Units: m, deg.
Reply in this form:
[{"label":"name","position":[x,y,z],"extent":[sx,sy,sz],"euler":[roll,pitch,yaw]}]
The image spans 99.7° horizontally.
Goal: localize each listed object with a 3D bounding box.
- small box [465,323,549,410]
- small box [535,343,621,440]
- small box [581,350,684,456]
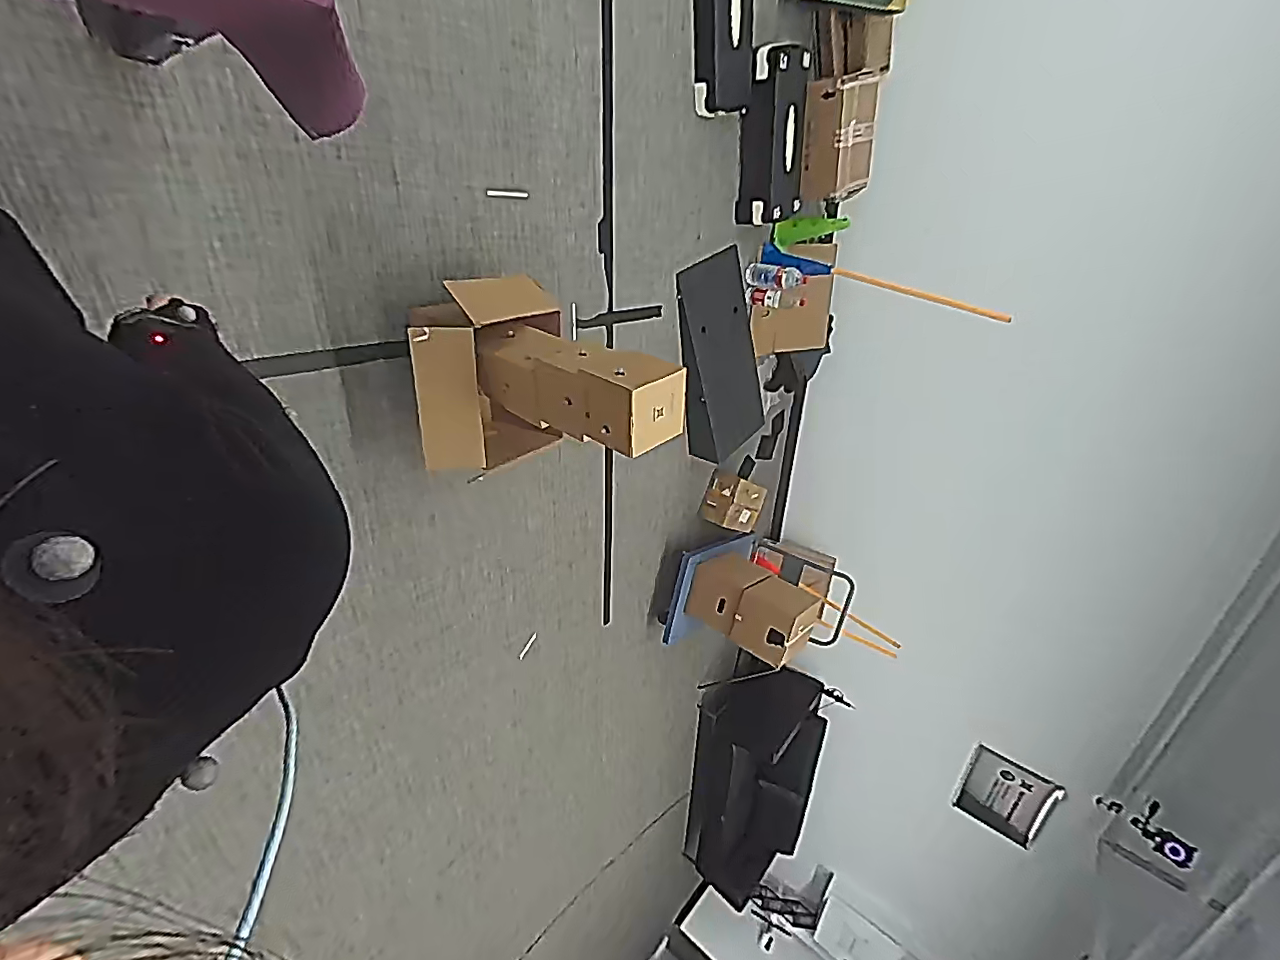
[{"label":"small box","position":[-0.368,-0.333,1.545],"extent":[0.168,0.176,0.179],"euler":[-42,141,-27]},{"label":"small box","position":[-0.142,-0.227,1.329],"extent":[0.168,0.176,0.179],"euler":[-30,134,-36]},{"label":"small box","position":[-0.023,-0.181,1.226],"extent":[0.179,0.176,0.168],"euler":[-30,135,-38]}]
